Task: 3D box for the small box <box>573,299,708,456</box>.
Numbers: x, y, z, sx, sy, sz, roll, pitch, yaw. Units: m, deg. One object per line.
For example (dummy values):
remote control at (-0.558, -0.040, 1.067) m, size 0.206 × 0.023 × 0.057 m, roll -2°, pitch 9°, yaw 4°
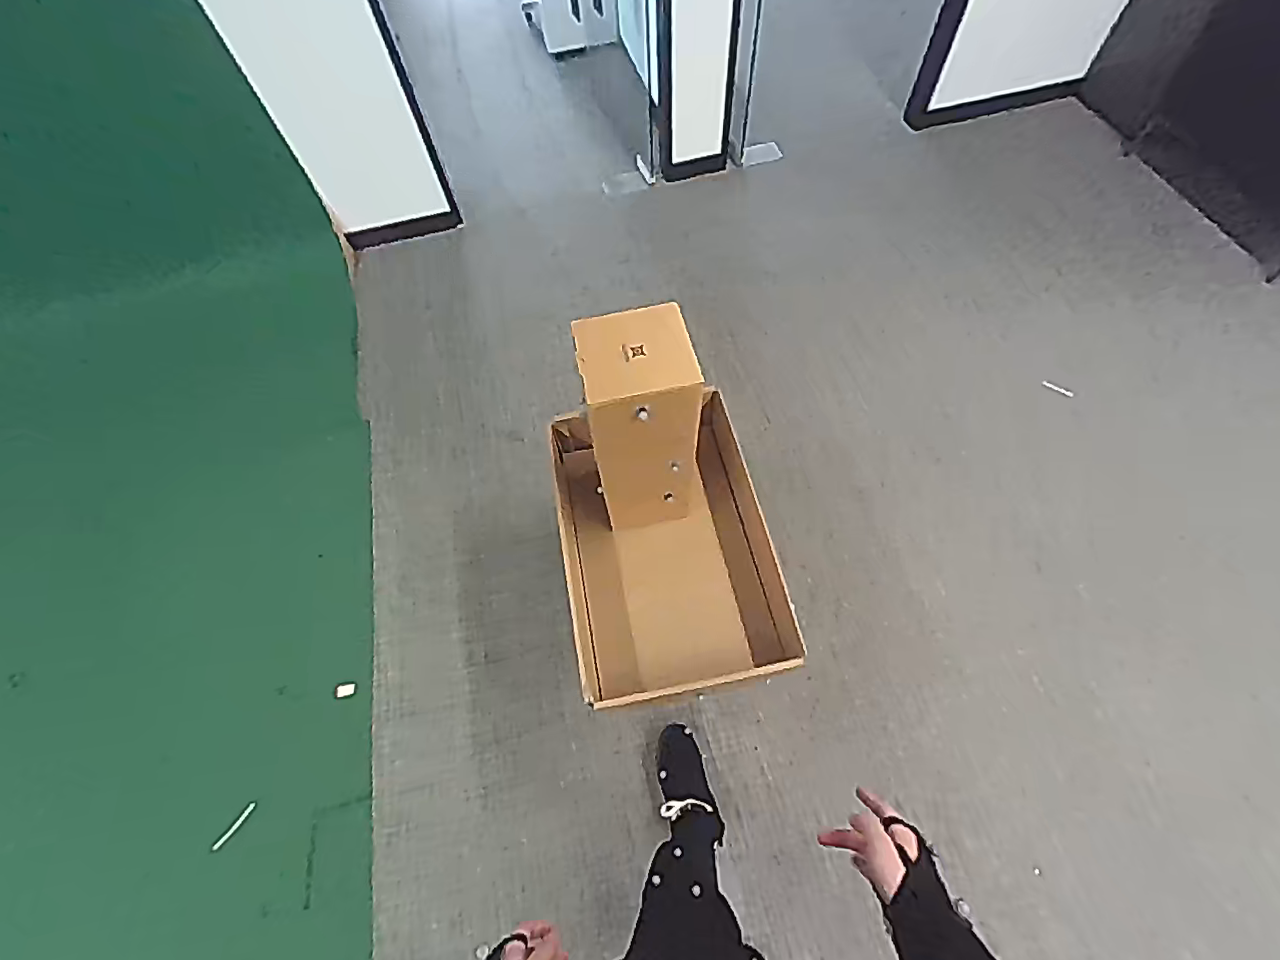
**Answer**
small box at (-0.001, -0.159, 0.871) m, size 0.179 × 0.176 × 0.168 m, roll -12°, pitch 63°, yaw -4°
